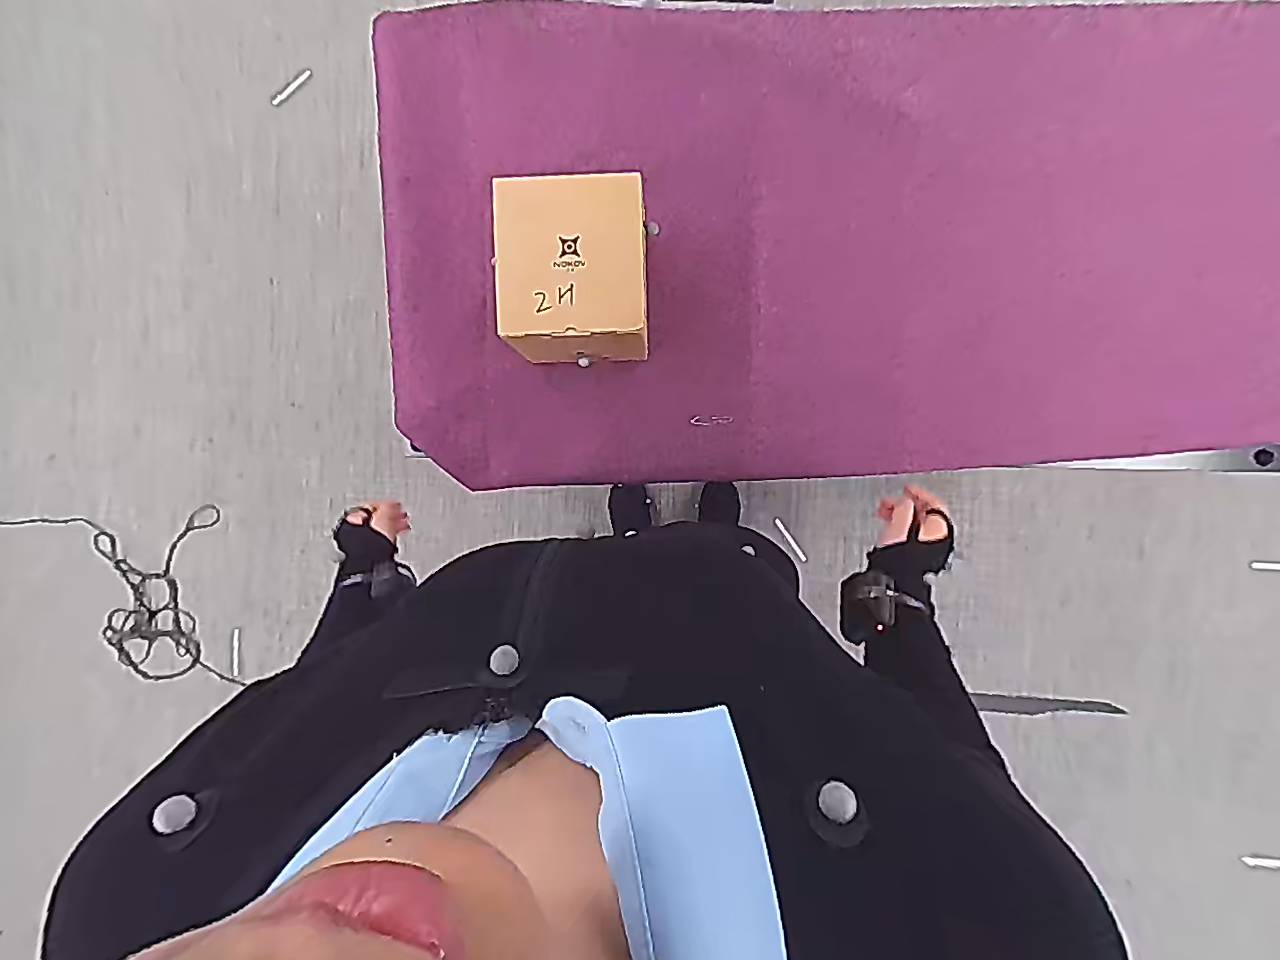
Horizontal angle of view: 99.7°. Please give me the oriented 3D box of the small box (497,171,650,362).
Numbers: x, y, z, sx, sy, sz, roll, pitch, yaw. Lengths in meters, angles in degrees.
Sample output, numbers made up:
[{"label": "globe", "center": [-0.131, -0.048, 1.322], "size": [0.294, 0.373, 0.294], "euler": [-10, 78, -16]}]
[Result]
[{"label": "small box", "center": [-0.072, -0.249, 0.667], "size": [0.168, 0.176, 0.179], "euler": [-1, 92, 2]}]
